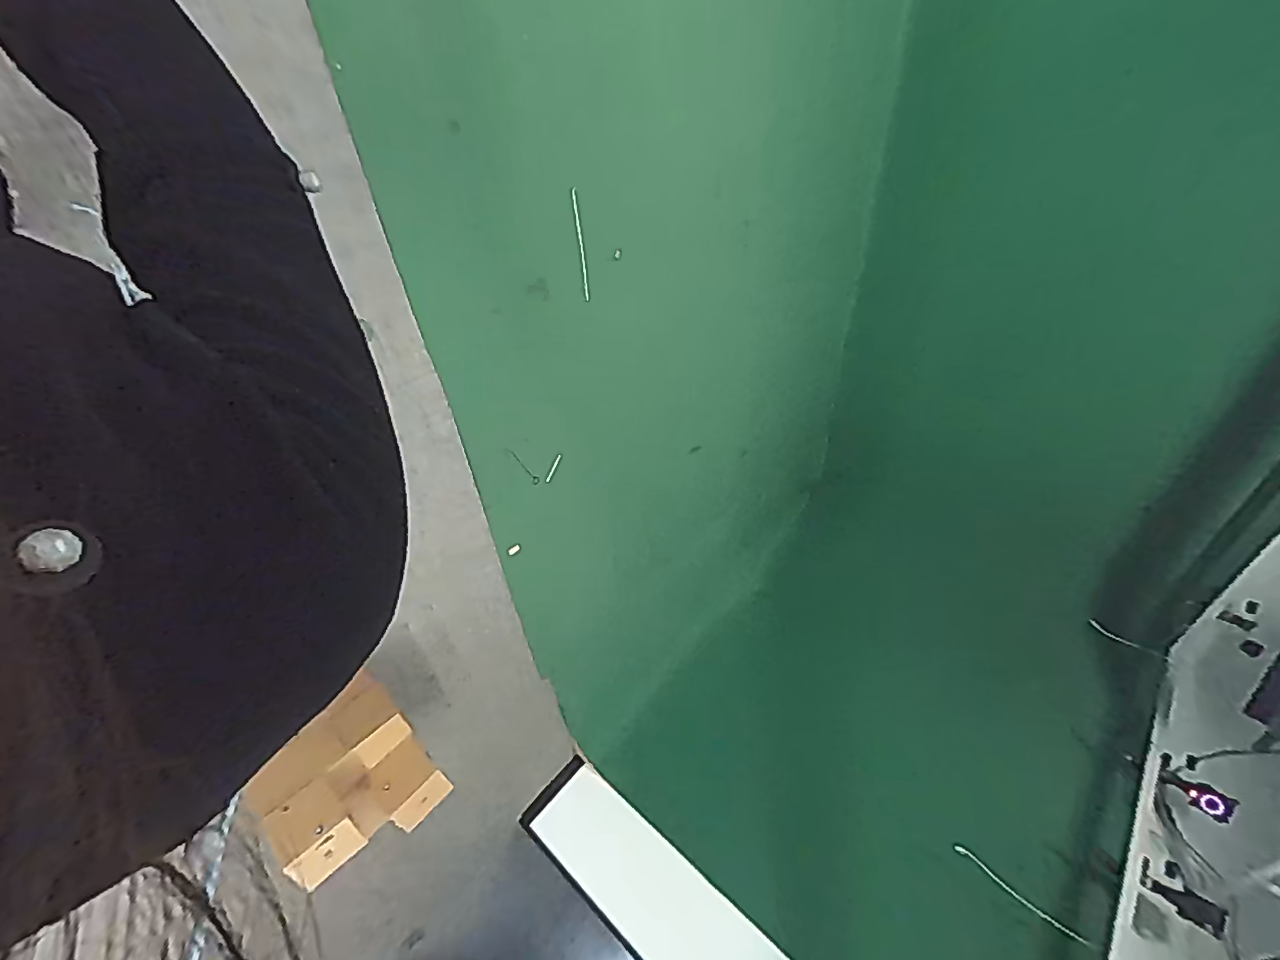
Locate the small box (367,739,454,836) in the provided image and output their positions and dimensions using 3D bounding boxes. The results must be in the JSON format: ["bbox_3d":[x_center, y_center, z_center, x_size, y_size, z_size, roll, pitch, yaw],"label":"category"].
[{"bbox_3d":[-0.731,0.969,1.711,0.179,0.176,0.168,-40,143,-32],"label":"small box"}]

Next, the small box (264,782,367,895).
[{"bbox_3d":[-0.893,0.980,1.491,0.168,0.176,0.179,-34,139,-35],"label":"small box"}]
